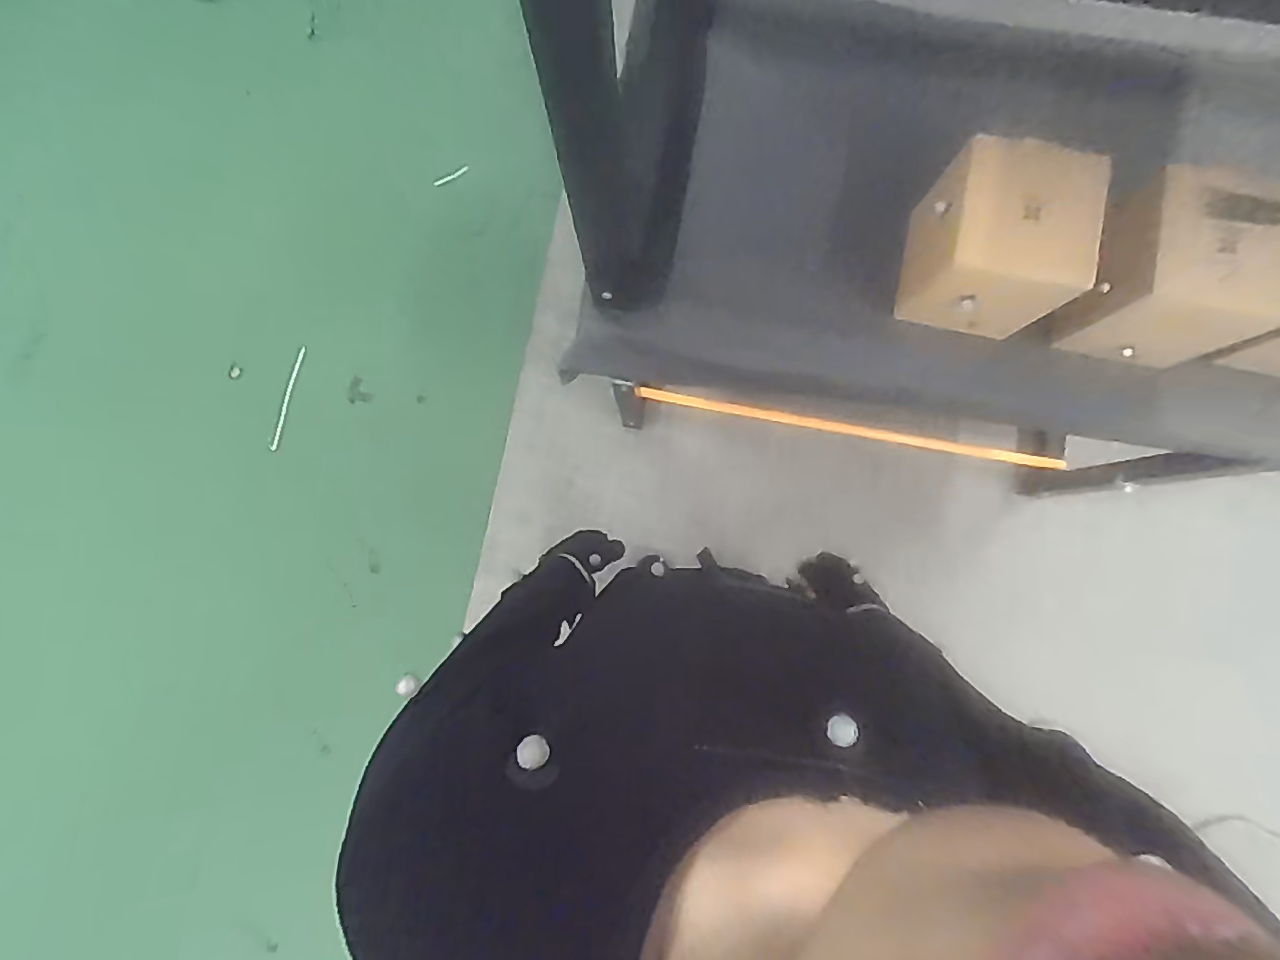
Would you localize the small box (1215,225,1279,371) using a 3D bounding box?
[{"bbox_3d":[0.917,-0.244,0.702,0.168,0.176,0.179,14,83,3],"label":"small box"}]

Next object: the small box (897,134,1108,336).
[{"bbox_3d":[0.470,-0.314,0.727,0.168,0.176,0.179,12,83,3],"label":"small box"}]
